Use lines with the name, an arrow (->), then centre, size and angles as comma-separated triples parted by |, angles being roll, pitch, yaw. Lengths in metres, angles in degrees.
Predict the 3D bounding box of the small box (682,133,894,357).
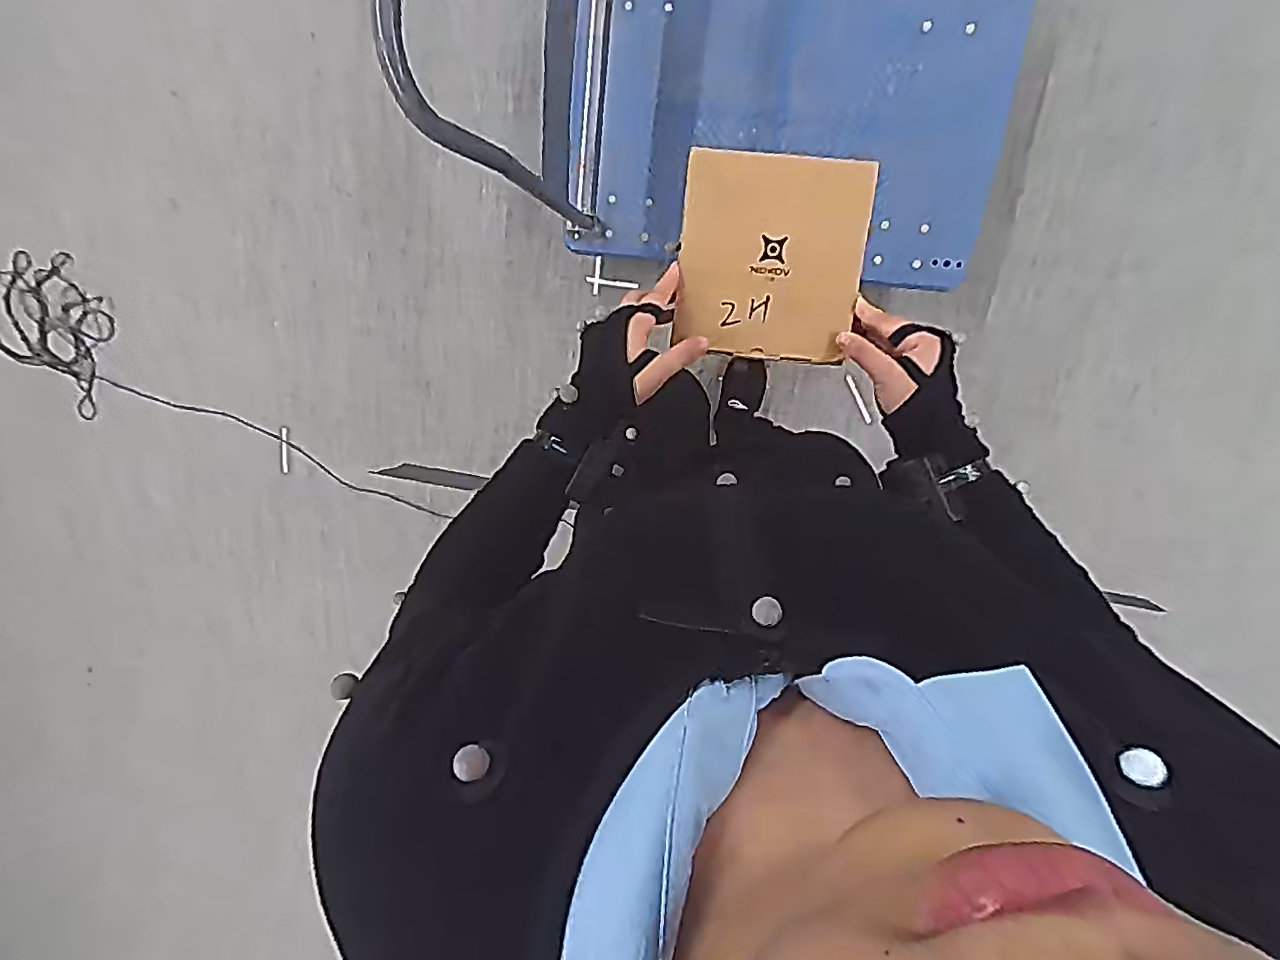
small box -> 0.134, -0.225, 0.560 | 0.168, 0.176, 0.179 | 6, 104, 3

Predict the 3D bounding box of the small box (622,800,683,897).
small box -> 0.044, 1.166, 1.717 | 0.168, 0.176, 0.179 | 8, 104, 4
